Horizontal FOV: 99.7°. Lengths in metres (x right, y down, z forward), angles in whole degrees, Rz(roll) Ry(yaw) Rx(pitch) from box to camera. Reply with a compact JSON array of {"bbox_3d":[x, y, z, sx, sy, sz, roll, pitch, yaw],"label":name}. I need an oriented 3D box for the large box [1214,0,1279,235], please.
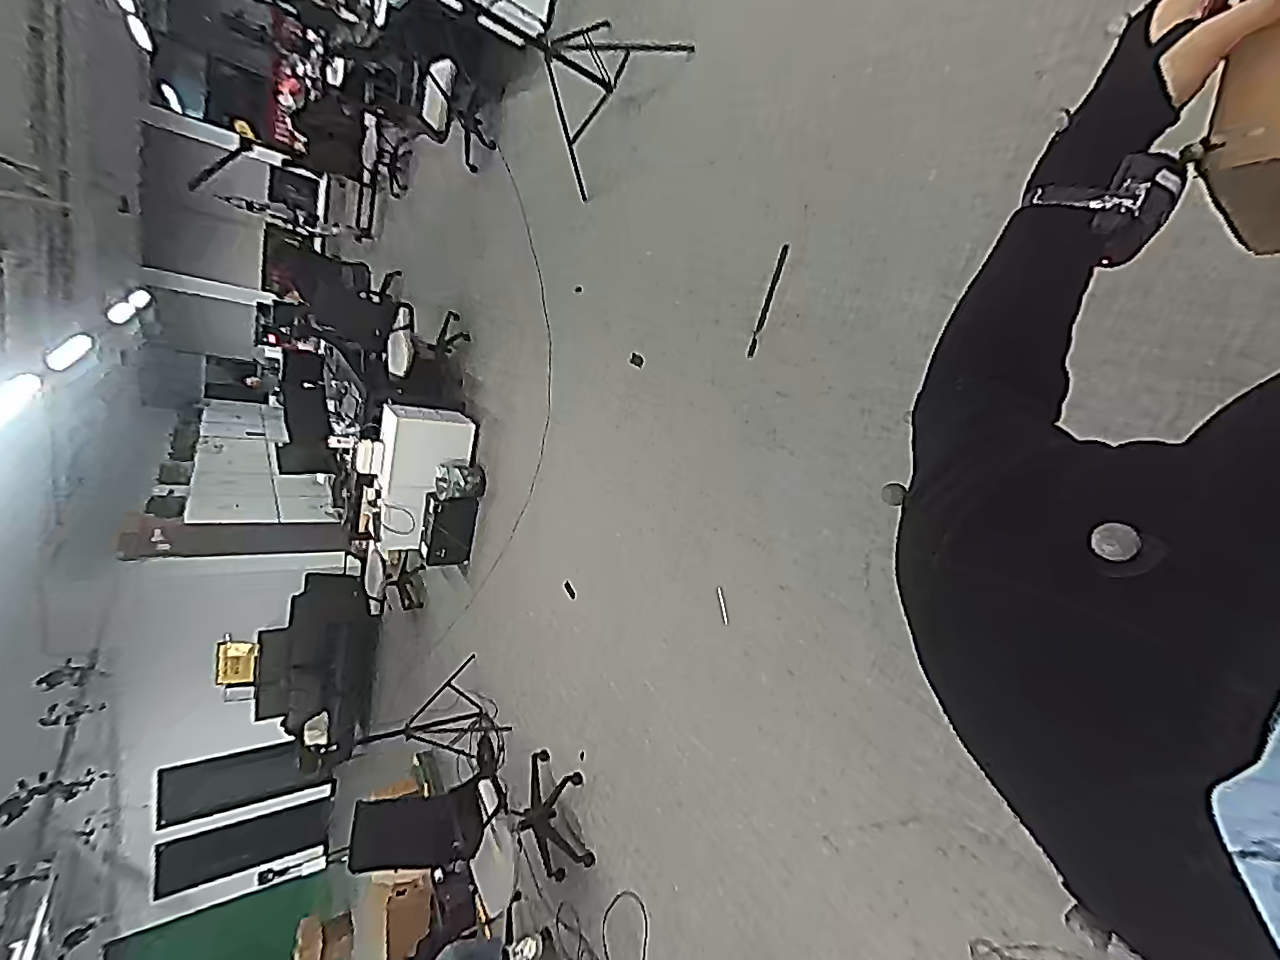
[{"bbox_3d":[0.653,-0.350,0.284,0.408,0.320,0.320,18,107,53],"label":"large box"}]
